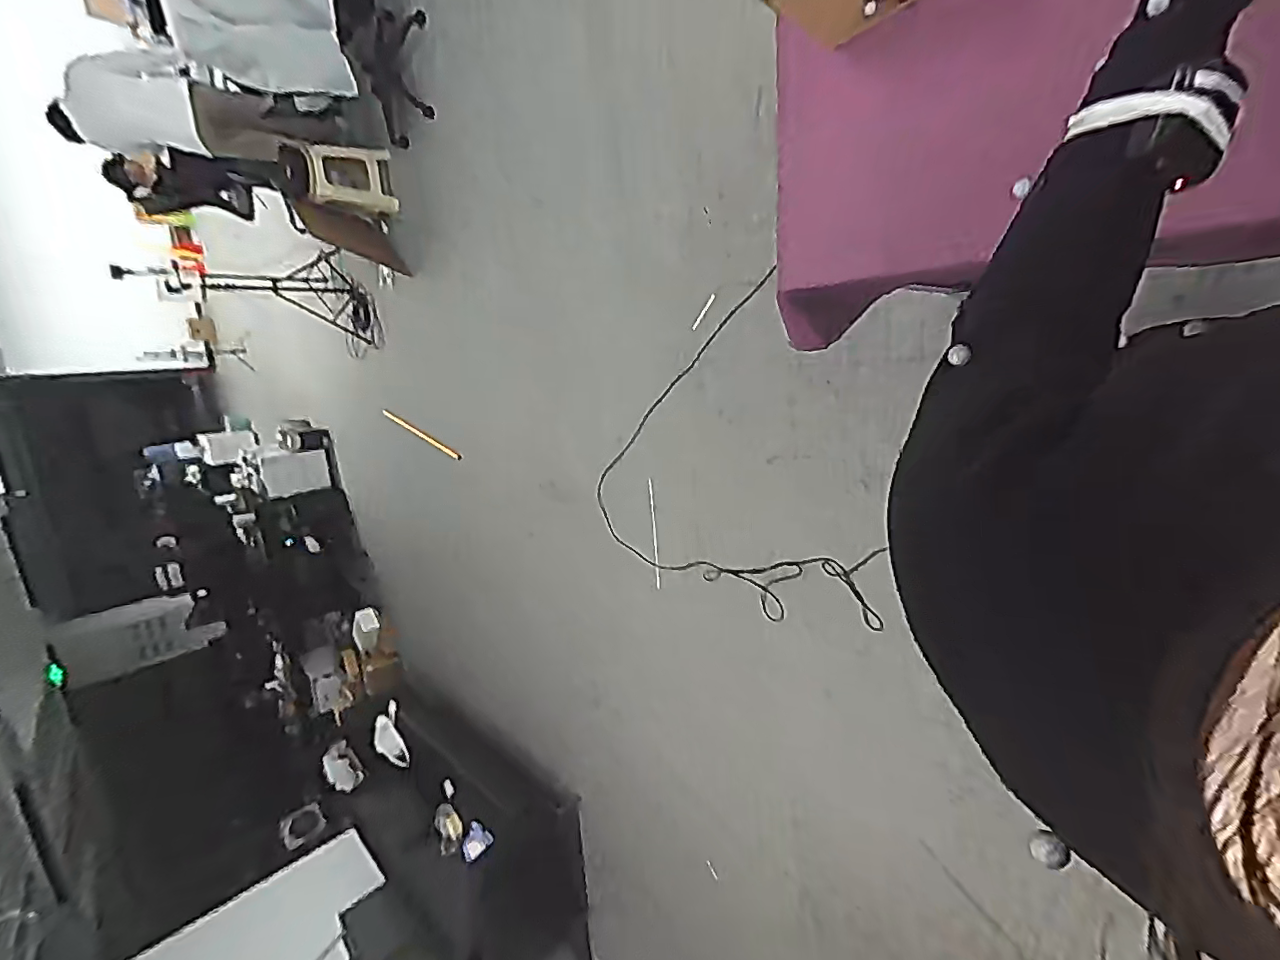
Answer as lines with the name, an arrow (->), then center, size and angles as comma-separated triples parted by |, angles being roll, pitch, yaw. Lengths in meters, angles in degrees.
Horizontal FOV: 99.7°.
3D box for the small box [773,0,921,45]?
small box -> 0.246, -0.647, 0.605 | 0.168, 0.176, 0.179 | 3, 104, 46
